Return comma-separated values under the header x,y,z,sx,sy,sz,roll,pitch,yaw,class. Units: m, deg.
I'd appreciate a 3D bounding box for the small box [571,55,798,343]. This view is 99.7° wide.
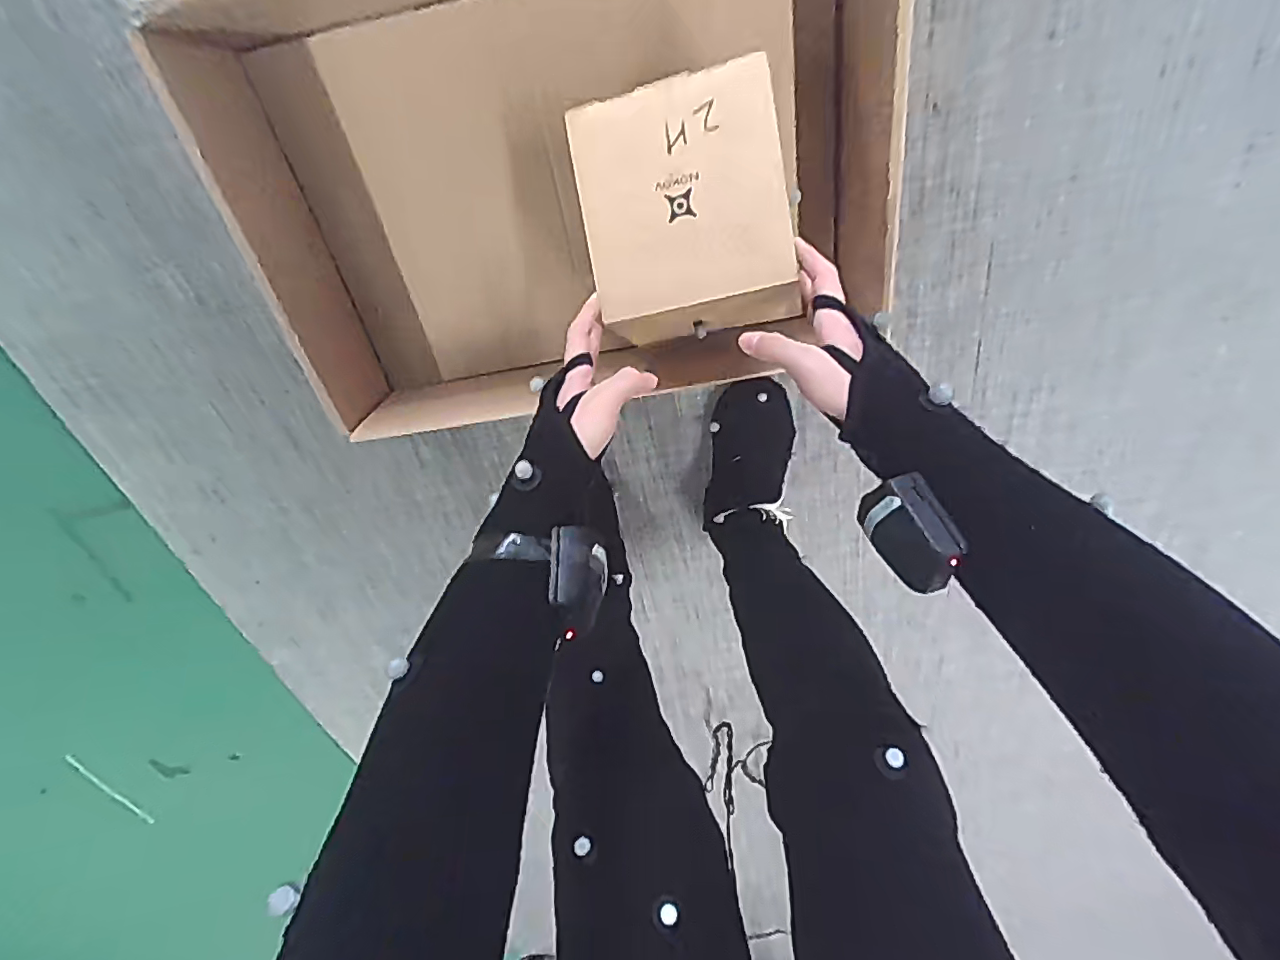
x,y,z,sx,sy,sz,roll,pitch,yaw,class
0.050,-0.236,0.512,0.168,0.176,0.179,-9,92,11,small box
